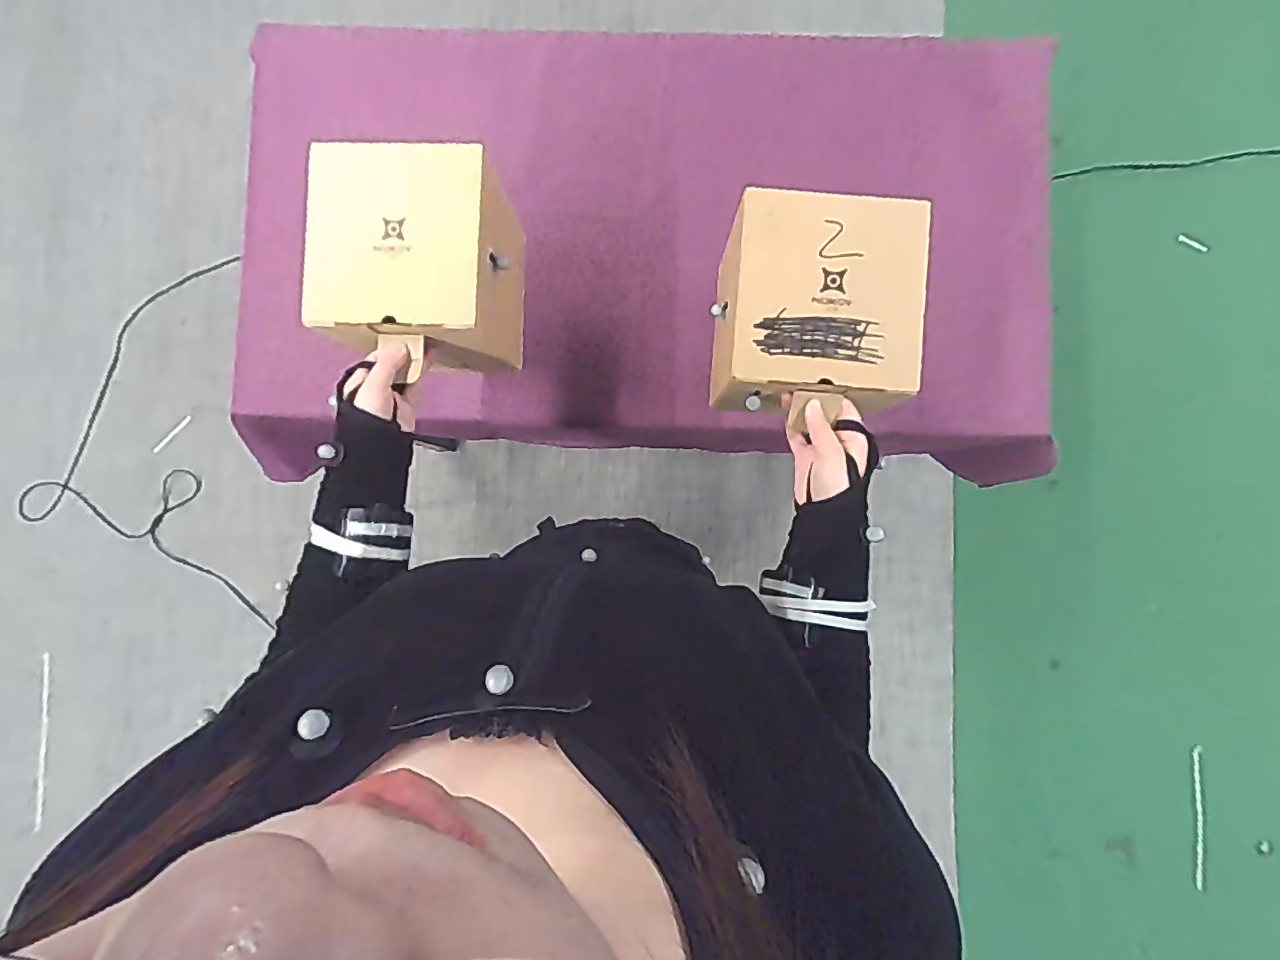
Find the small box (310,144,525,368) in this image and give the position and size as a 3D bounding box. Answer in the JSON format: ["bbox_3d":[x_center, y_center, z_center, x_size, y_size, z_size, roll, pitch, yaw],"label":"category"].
[{"bbox_3d":[-0.229,-0.233,0.599,0.168,0.176,0.179,2,88,1],"label":"small box"}]
